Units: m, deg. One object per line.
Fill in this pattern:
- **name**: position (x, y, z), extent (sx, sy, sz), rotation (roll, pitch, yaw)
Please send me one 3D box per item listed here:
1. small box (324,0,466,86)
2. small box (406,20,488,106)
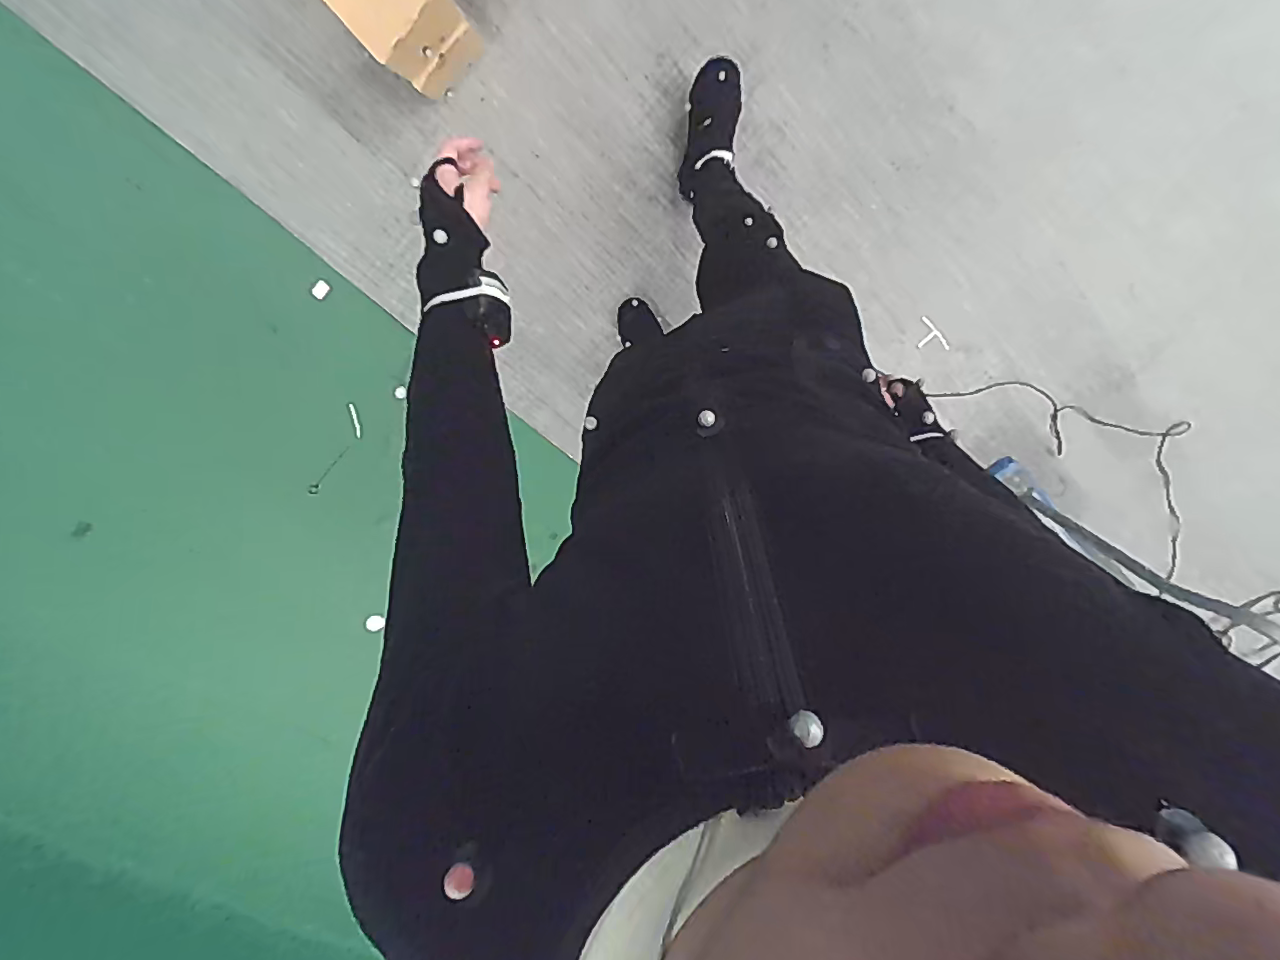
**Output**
- **small box**: position (-0.453, -0.872, 0.990), extent (0.168, 0.176, 0.179), rotation (-39, 112, 16)
- **small box**: position (-0.452, -0.940, 1.155), extent (0.168, 0.176, 0.179), rotation (-40, 111, 16)
